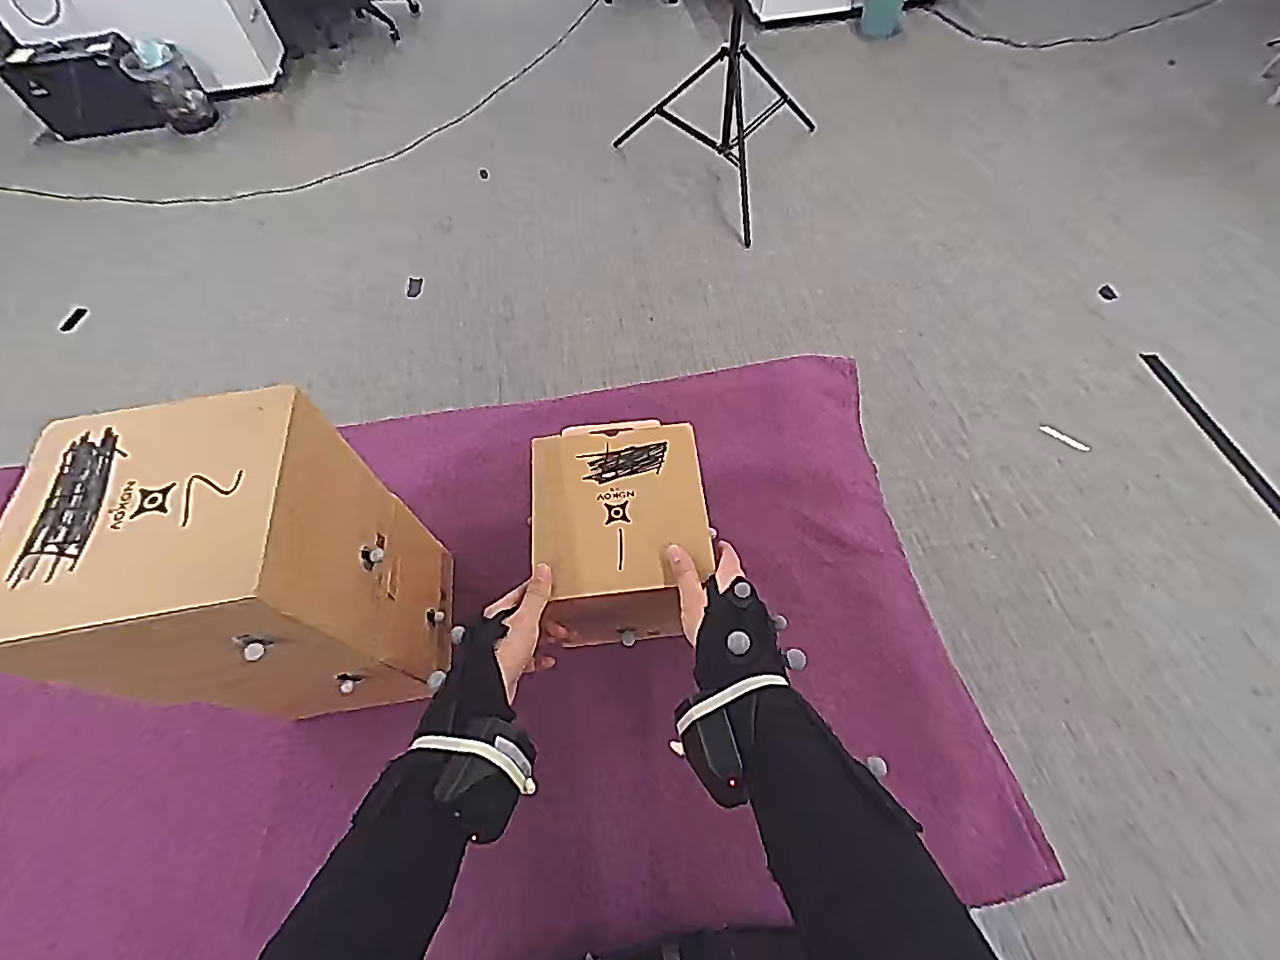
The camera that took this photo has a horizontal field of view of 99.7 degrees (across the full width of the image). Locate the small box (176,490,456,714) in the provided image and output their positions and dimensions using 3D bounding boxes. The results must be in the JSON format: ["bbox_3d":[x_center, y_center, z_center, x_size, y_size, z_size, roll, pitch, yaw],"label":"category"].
[{"bbox_3d":[-0.307,0.133,0.559,0.179,0.176,0.168,-9,59,-3],"label":"small box"}]

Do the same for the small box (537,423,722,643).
[{"bbox_3d":[-0.012,0.062,0.582,0.168,0.176,0.179,-6,60,0],"label":"small box"}]
